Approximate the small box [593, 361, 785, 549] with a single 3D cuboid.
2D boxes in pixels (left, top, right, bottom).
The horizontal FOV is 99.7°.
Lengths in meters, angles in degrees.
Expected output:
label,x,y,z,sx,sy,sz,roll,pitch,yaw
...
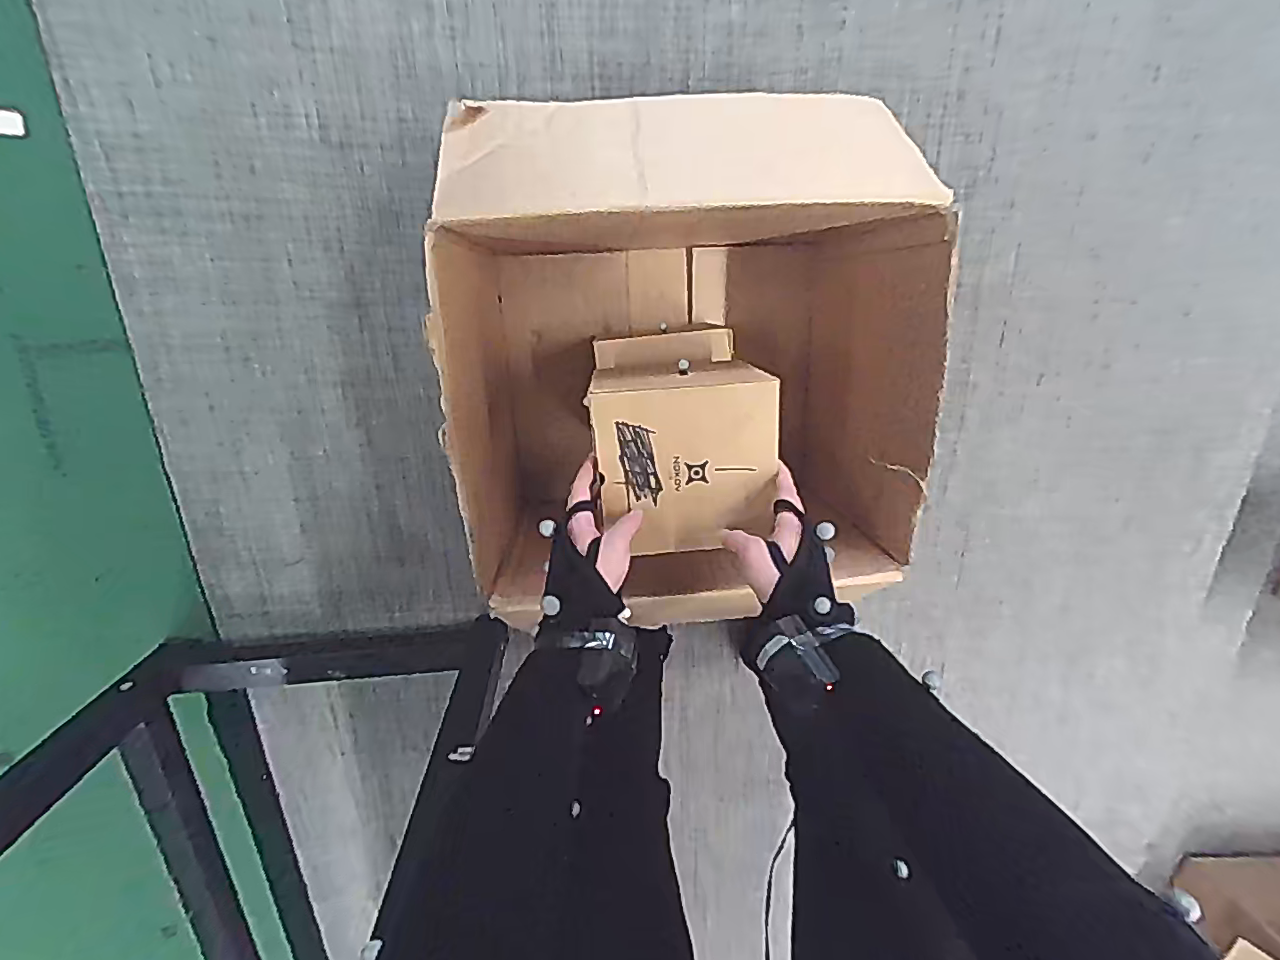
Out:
label,x,y,z,sx,sy,sz,roll,pitch,yaw
small box,0.042,-0.035,0.587,0.179,0.176,0.168,-1,110,-2
